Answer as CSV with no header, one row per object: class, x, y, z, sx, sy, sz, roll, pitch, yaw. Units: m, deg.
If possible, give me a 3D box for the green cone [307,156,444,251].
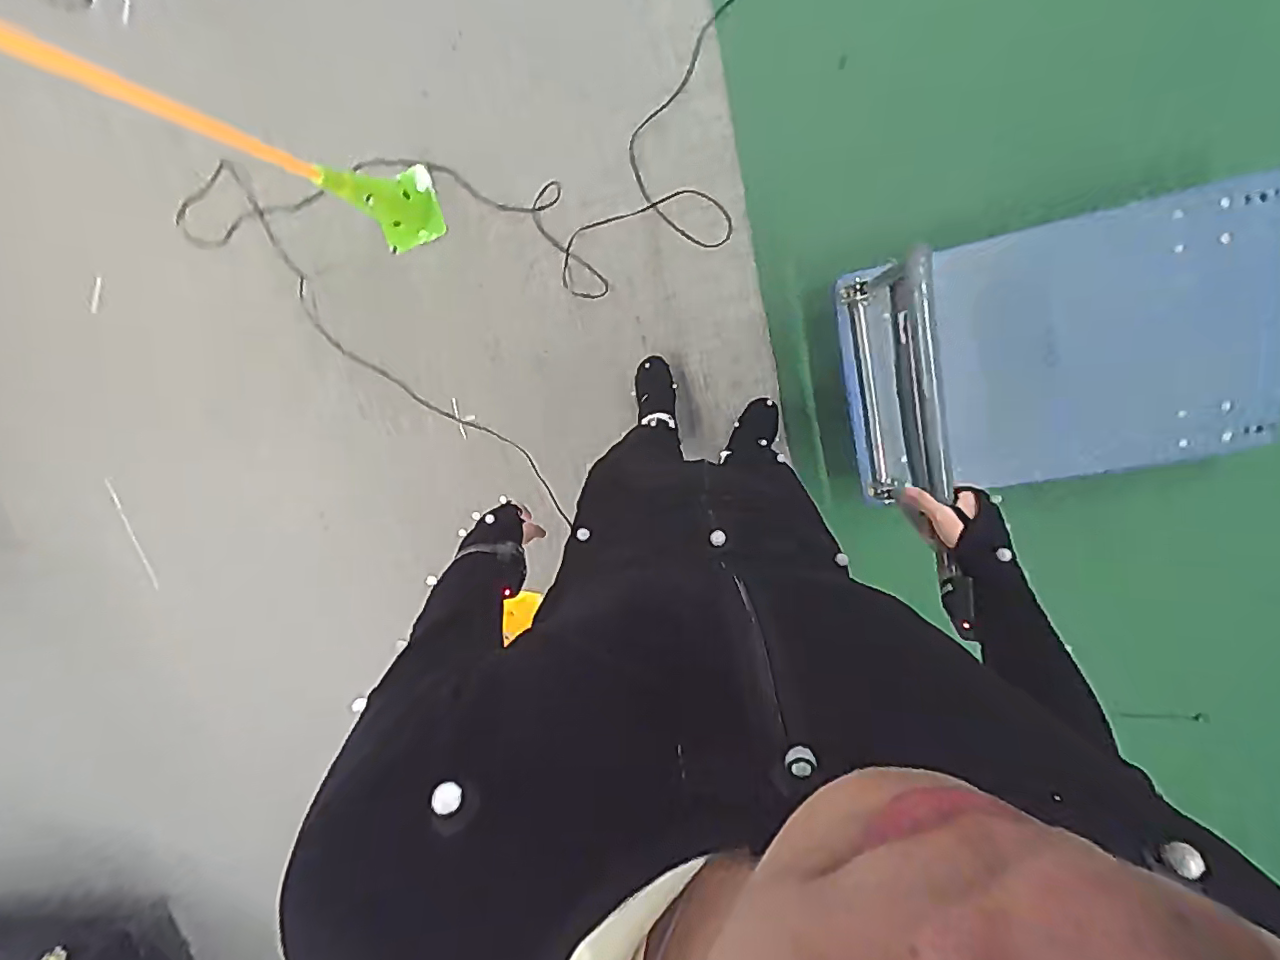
green cone,-0.717,-0.764,1.426,0.200,0.368,0.202,-14,99,15
